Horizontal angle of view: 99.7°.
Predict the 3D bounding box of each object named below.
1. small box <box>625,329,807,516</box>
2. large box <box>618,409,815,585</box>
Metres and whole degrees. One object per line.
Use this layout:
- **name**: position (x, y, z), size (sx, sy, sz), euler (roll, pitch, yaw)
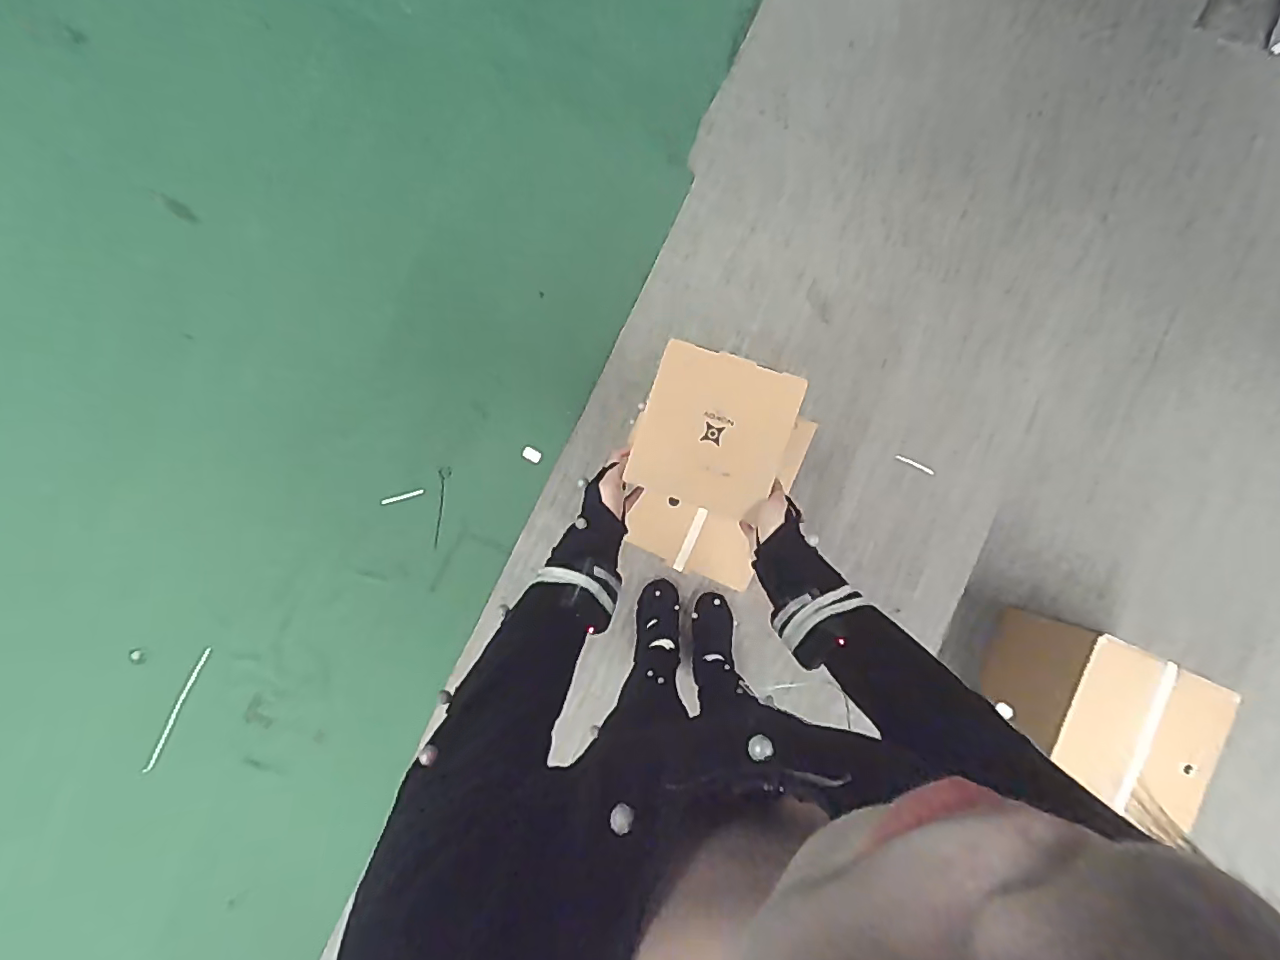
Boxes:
- **small box**: position (0.092, -0.068, 0.694), size (0.168, 0.176, 0.179), euler (19, 94, 6)
- **large box**: position (0.173, -0.002, 1.316), size (0.320, 0.320, 0.408), euler (23, 88, 3)
